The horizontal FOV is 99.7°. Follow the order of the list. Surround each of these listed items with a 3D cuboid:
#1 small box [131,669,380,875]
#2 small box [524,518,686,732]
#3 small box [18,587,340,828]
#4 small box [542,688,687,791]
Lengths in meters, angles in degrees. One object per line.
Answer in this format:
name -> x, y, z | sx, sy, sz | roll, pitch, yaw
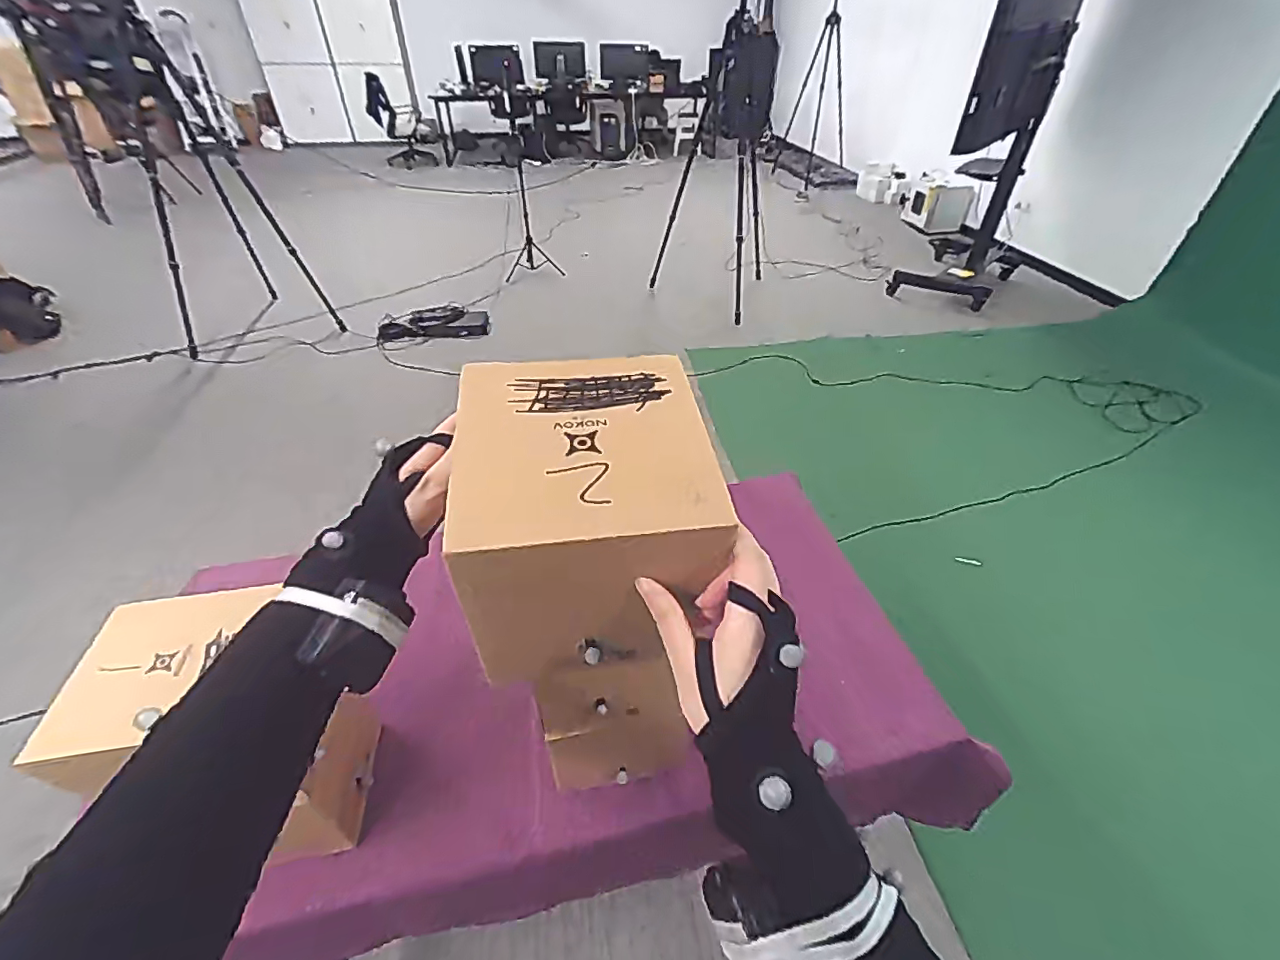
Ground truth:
small box -> -0.454, 0.365, 0.677 | 0.179, 0.176, 0.168 | -6, 42, -8
small box -> -0.047, 0.172, 0.653 | 0.168, 0.176, 0.179 | -7, 42, -8
small box -> -0.448, 0.239, 0.573 | 0.179, 0.176, 0.168 | -7, 42, -8
small box -> -0.044, 0.303, 0.752 | 0.179, 0.176, 0.168 | -7, 41, -9
